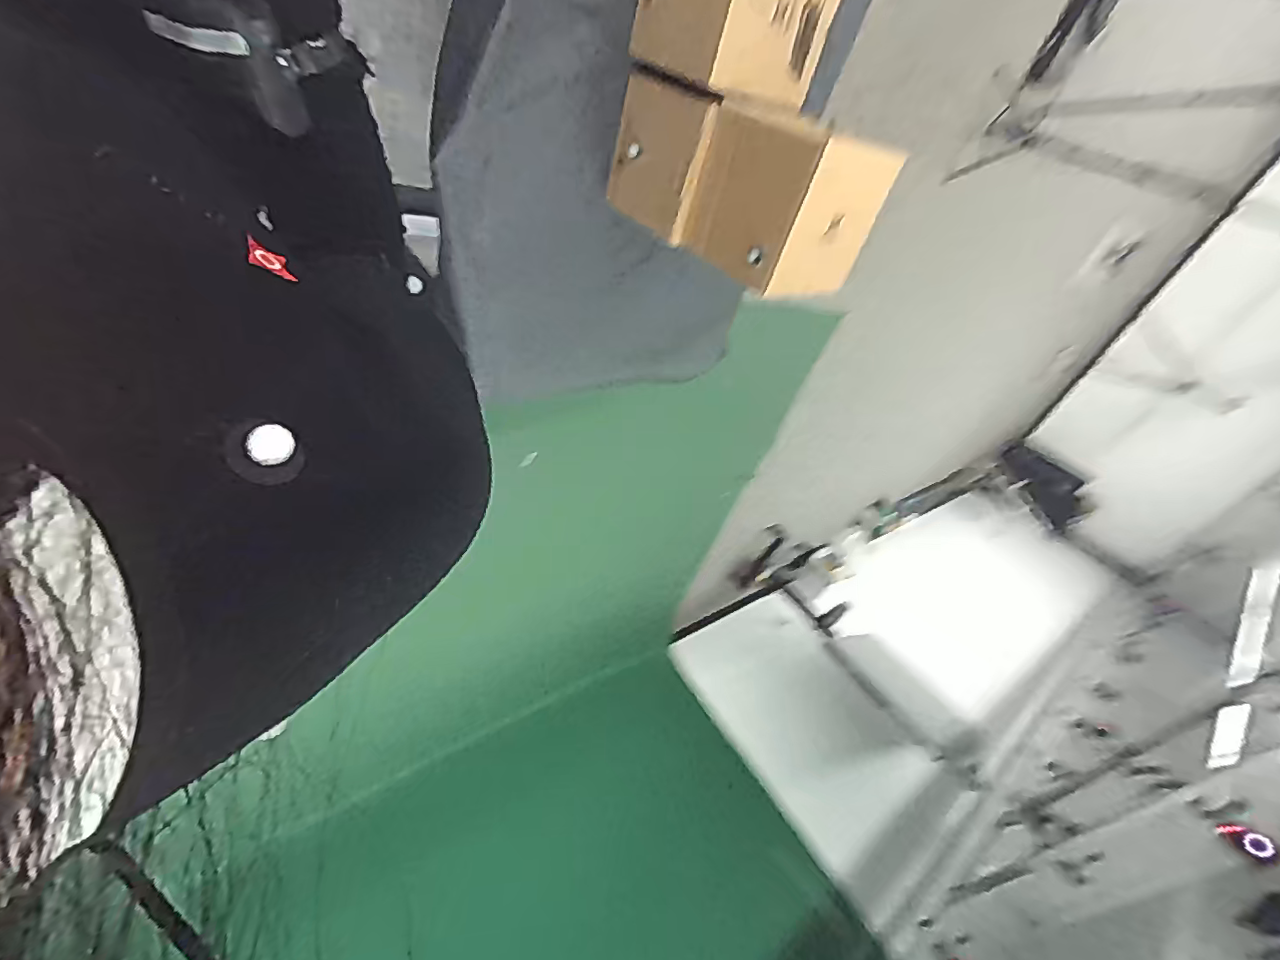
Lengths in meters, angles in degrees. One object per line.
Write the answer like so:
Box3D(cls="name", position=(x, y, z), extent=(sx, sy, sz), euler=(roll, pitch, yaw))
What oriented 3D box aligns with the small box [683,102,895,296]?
Box3D(cls="small box", position=(0.181, -0.361, 0.701), extent=(0.168, 0.176, 0.179), euler=(-17, 142, -37))
